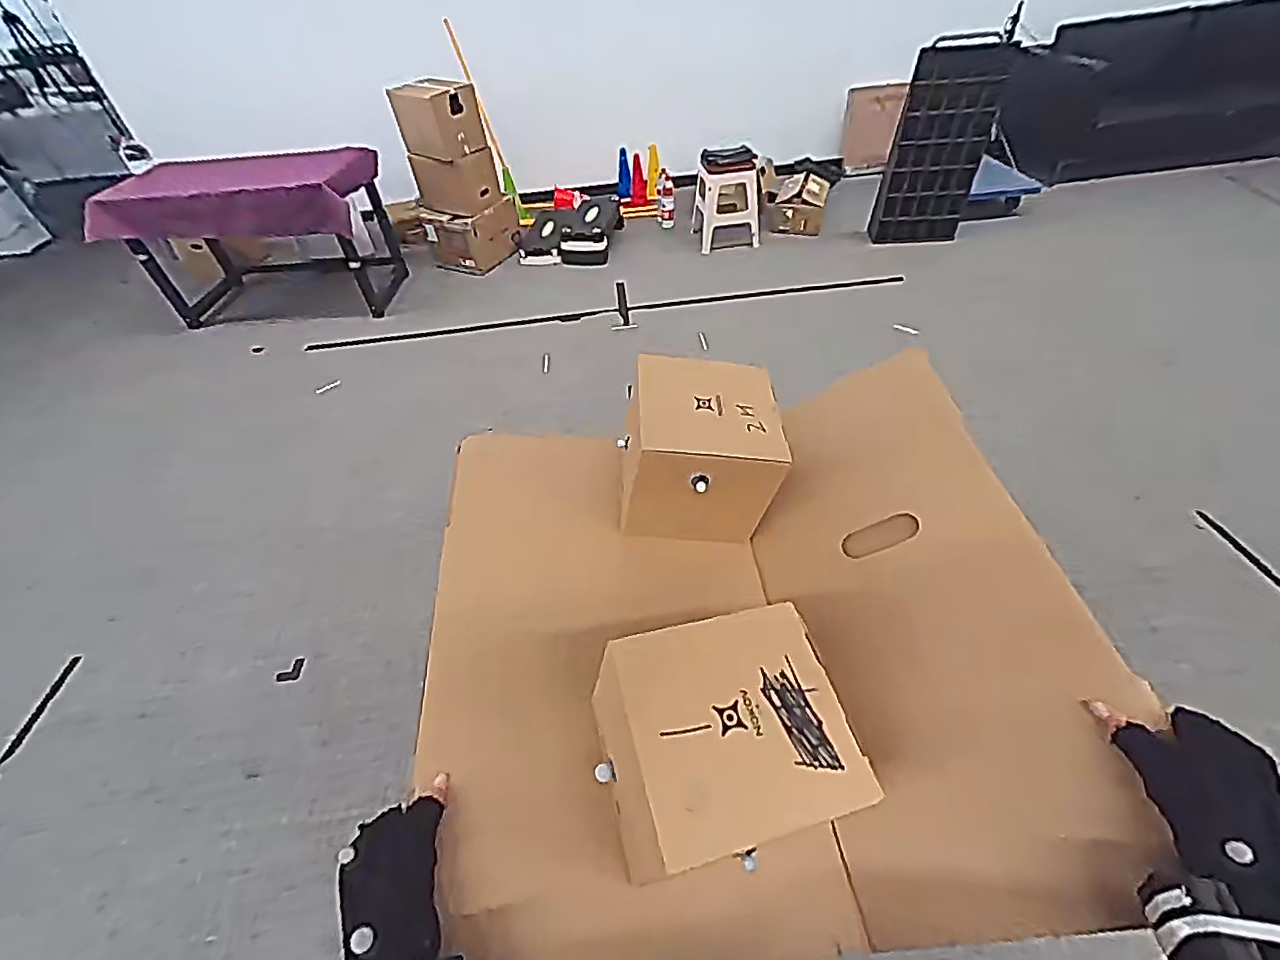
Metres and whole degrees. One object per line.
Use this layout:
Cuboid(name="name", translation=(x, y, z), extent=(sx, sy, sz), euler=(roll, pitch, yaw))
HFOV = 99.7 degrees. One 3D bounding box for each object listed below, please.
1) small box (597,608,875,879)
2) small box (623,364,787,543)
Cuboid(name="small box", translation=(0.067, 0.240, 0.495), extent=(0.179, 0.176, 0.168), euler=(-8, 53, -16))
Cuboid(name="small box", translation=(0.071, -0.030, 0.717), extent=(0.179, 0.176, 0.168), euler=(5, 51, -7))
